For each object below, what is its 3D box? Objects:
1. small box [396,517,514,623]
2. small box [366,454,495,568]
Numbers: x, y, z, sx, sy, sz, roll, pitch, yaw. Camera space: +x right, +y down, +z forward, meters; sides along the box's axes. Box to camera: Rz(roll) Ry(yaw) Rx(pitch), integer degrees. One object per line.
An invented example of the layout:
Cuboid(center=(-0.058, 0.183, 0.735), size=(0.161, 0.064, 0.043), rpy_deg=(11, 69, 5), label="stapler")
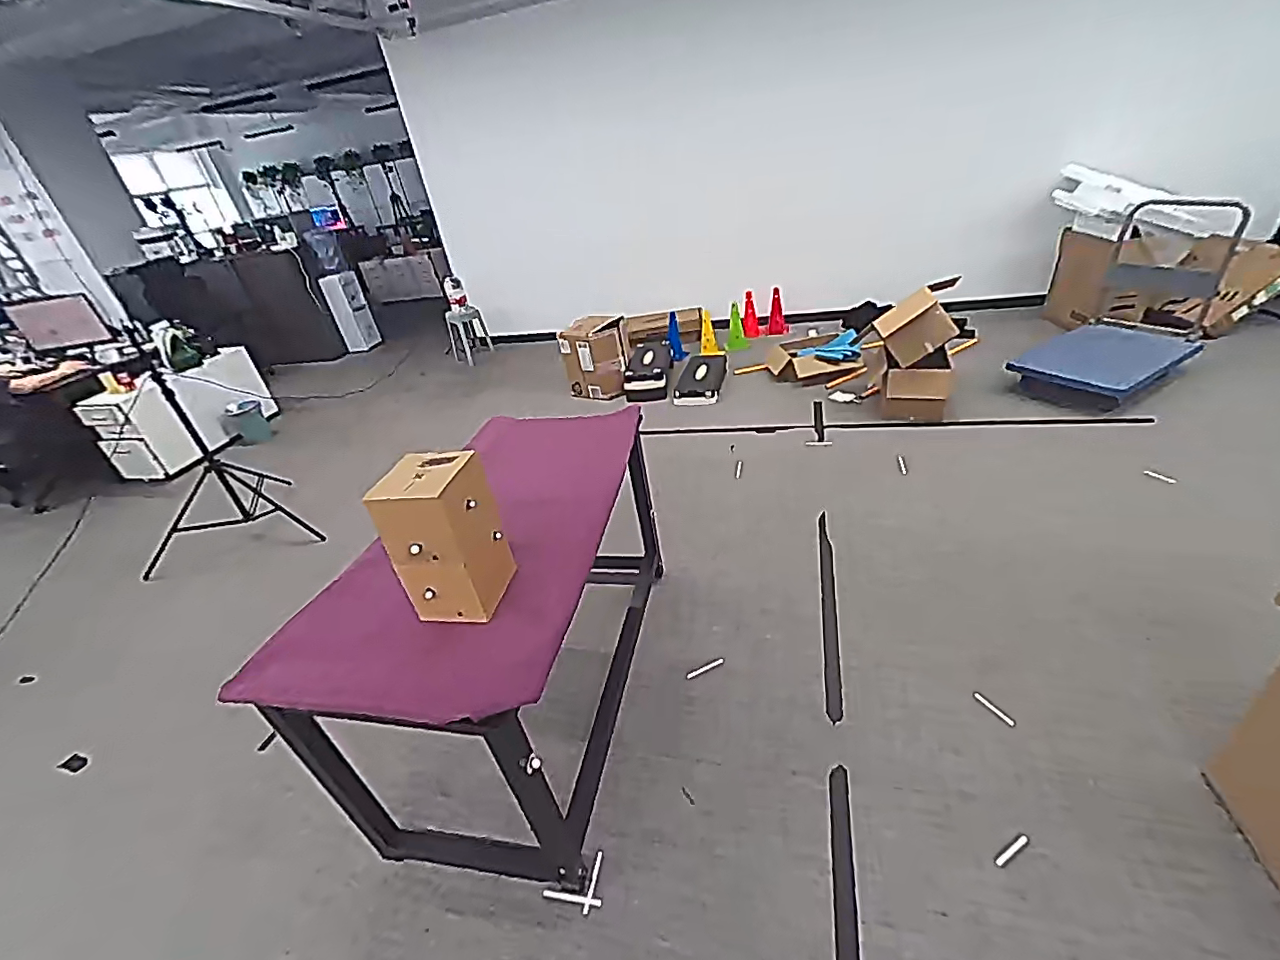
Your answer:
Cuboid(center=(-0.400, 0.201, 1.206), size=(0.168, 0.176, 0.179), rpy_deg=(-2, 32, 12), label="small box")
Cuboid(center=(-0.419, 0.062, 1.120), size=(0.168, 0.176, 0.179), rpy_deg=(-2, 33, 13), label="small box")
